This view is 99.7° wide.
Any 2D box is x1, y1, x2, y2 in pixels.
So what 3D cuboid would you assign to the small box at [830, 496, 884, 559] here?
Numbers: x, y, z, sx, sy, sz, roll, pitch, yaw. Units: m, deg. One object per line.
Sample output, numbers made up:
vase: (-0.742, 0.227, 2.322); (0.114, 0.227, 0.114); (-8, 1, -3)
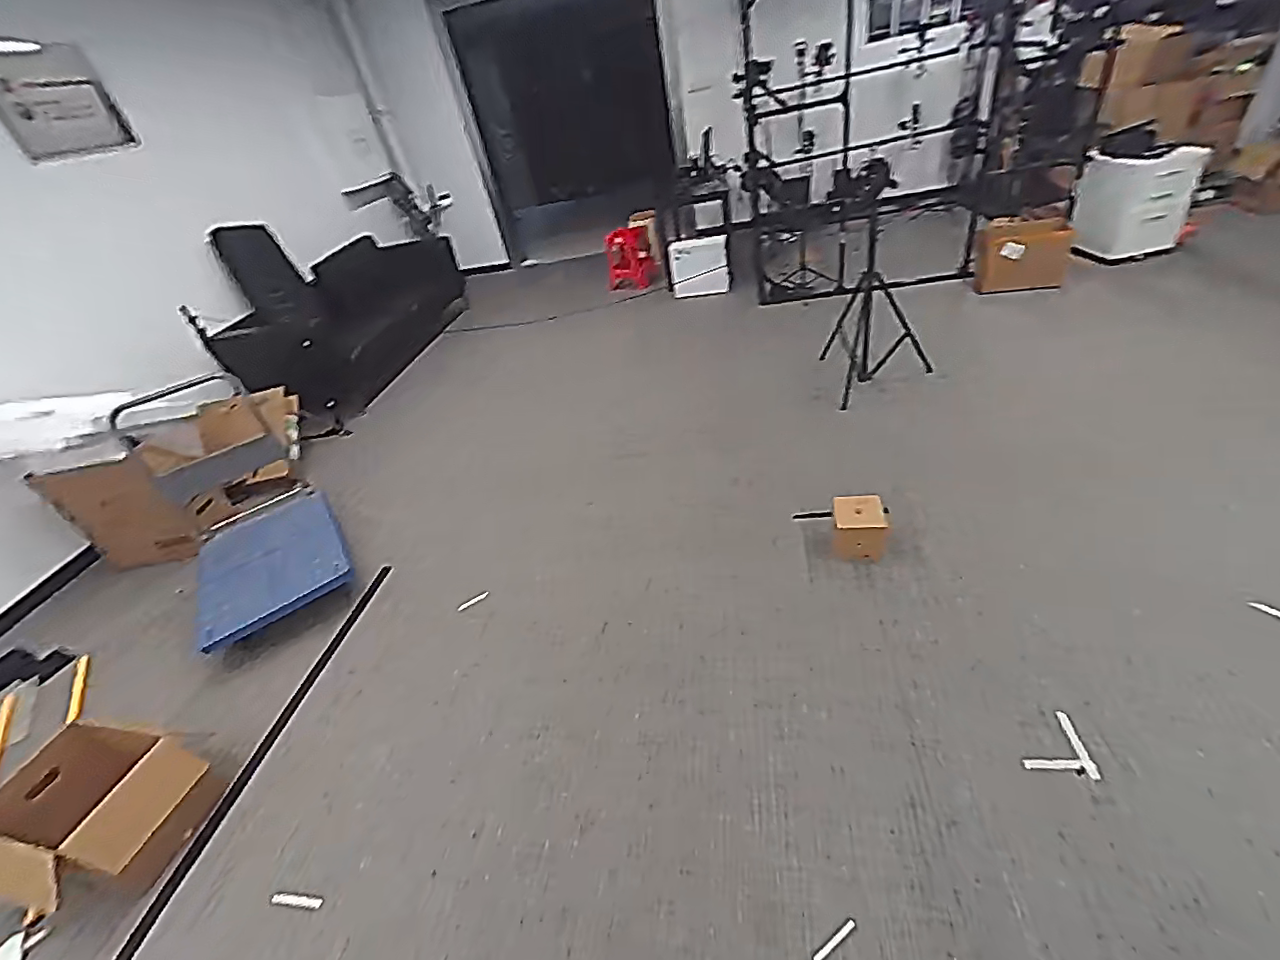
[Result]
small box: (0.802, 0.179, 2.009); (0.168, 0.176, 0.179); (-3, 37, 14)
